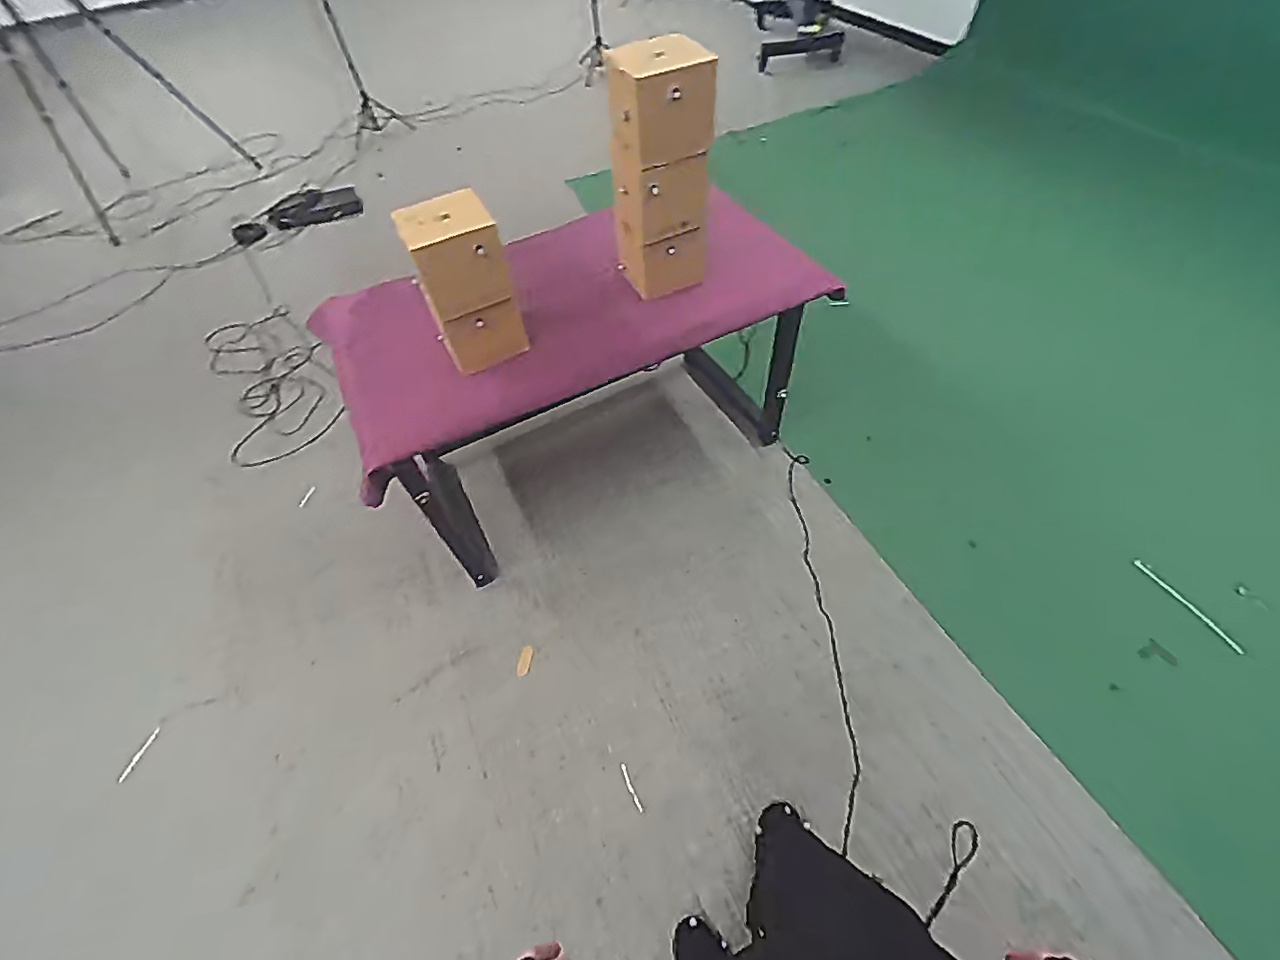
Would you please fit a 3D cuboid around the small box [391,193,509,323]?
[{"bbox_3d":[-0.388,-0.464,1.135,0.179,0.176,0.168,-25,56,-13],"label":"small box"}]

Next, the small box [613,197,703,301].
[{"bbox_3d":[0.049,-0.590,1.391,0.179,0.176,0.168,-22,56,-12],"label":"small box"}]

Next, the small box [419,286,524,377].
[{"bbox_3d":[-0.388,-0.377,1.277,0.179,0.176,0.168,-27,57,-14],"label":"small box"}]

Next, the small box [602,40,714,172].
[{"bbox_3d":[0.038,-0.767,1.116,0.179,0.176,0.168,-21,56,-10],"label":"small box"}]
